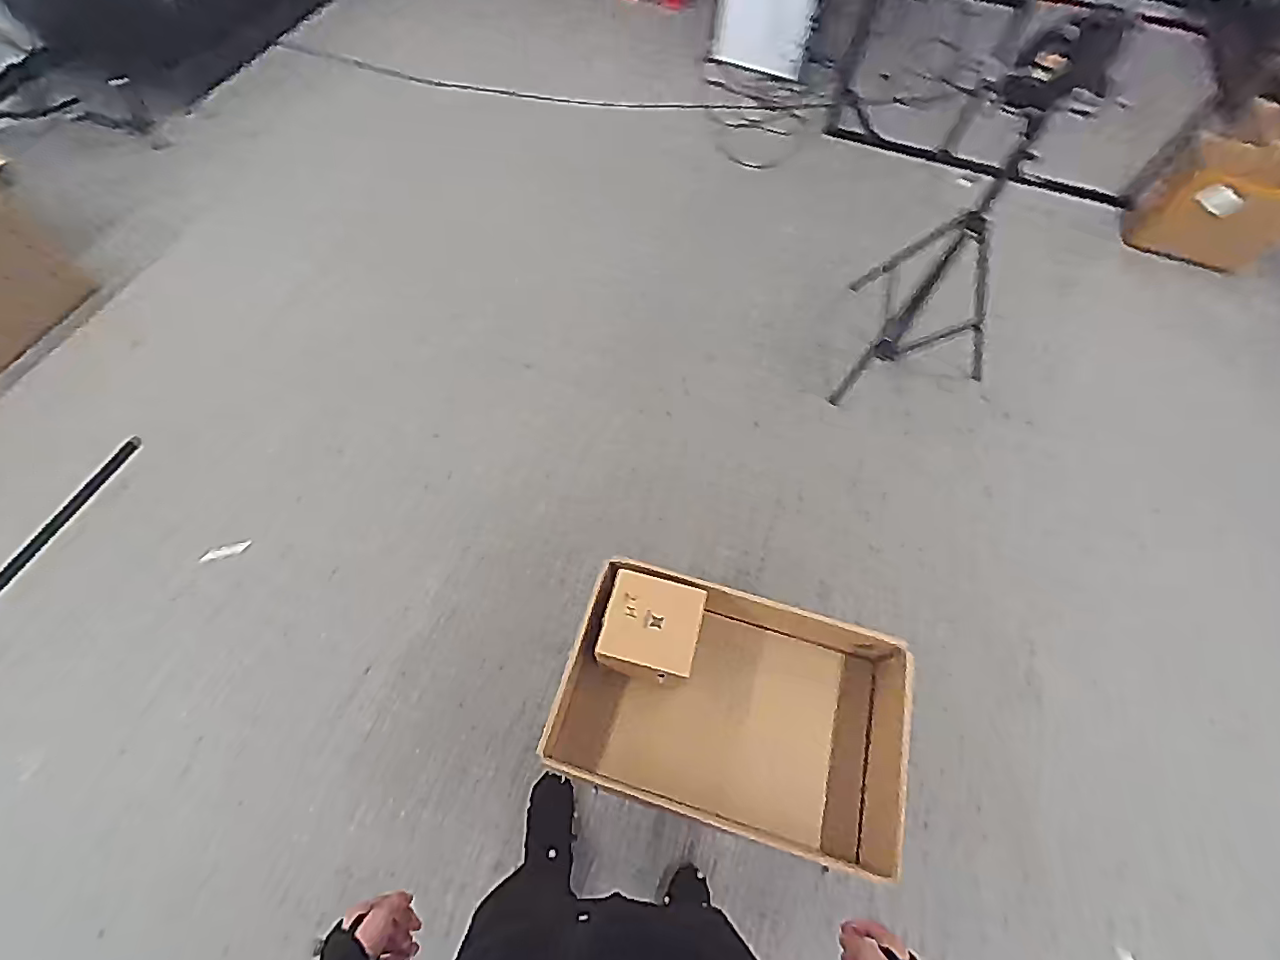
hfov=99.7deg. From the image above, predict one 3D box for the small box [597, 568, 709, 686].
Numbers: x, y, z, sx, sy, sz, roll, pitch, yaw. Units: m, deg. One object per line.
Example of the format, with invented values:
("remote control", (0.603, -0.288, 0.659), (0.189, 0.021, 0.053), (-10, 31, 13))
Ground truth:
("small box", (0.024, 0.297, 1.069), (0.179, 0.176, 0.168), (15, 62, 6))
